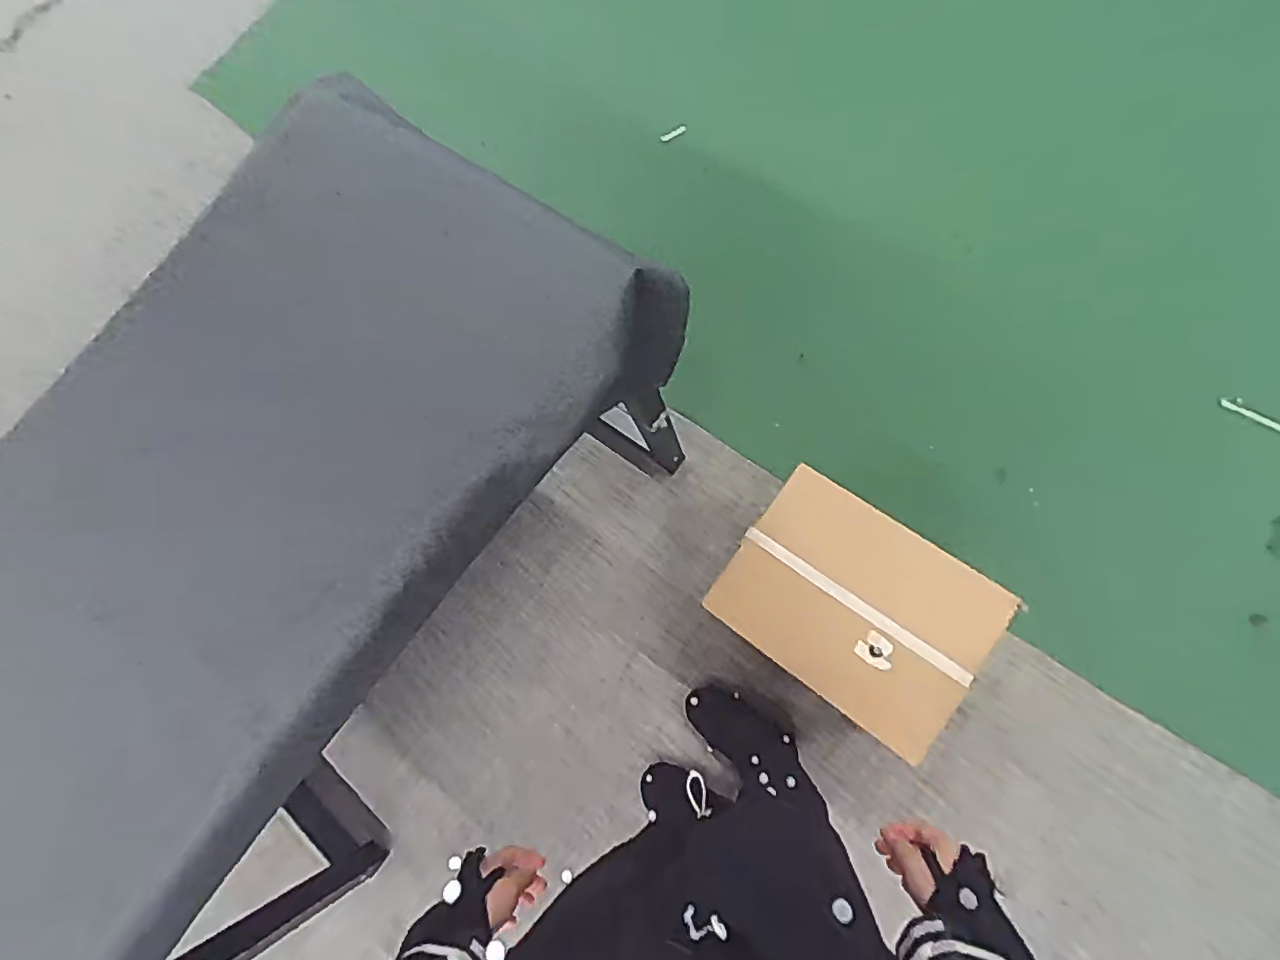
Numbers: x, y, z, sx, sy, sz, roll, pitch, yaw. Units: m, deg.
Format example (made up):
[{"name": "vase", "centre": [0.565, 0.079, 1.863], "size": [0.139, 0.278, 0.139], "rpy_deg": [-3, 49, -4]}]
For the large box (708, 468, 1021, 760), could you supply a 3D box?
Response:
[{"name": "large box", "centre": [0.382, 0.240, 1.034], "size": [0.408, 0.320, 0.320], "rpy_deg": [35, 84, 17]}]
